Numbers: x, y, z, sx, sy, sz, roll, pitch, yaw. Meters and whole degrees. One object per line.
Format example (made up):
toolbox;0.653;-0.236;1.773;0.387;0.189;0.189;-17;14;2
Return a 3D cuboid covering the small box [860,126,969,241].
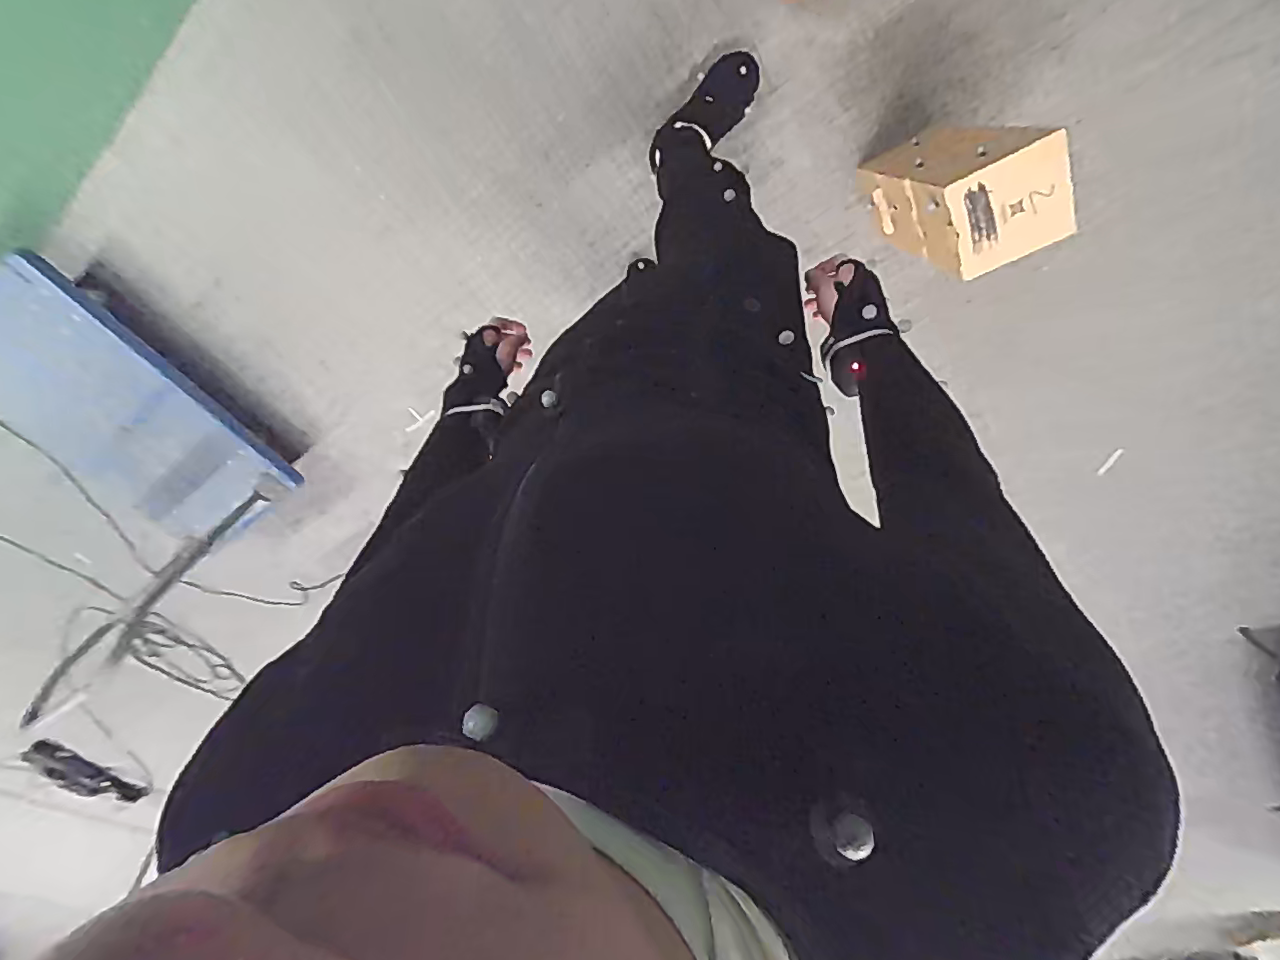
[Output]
small box;0.613;-0.661;1.202;0.179;0.176;0.168;-17;118;17

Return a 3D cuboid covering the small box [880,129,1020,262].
small box;0.607;-0.568;1.071;0.179;0.176;0.168;-23;119;20
